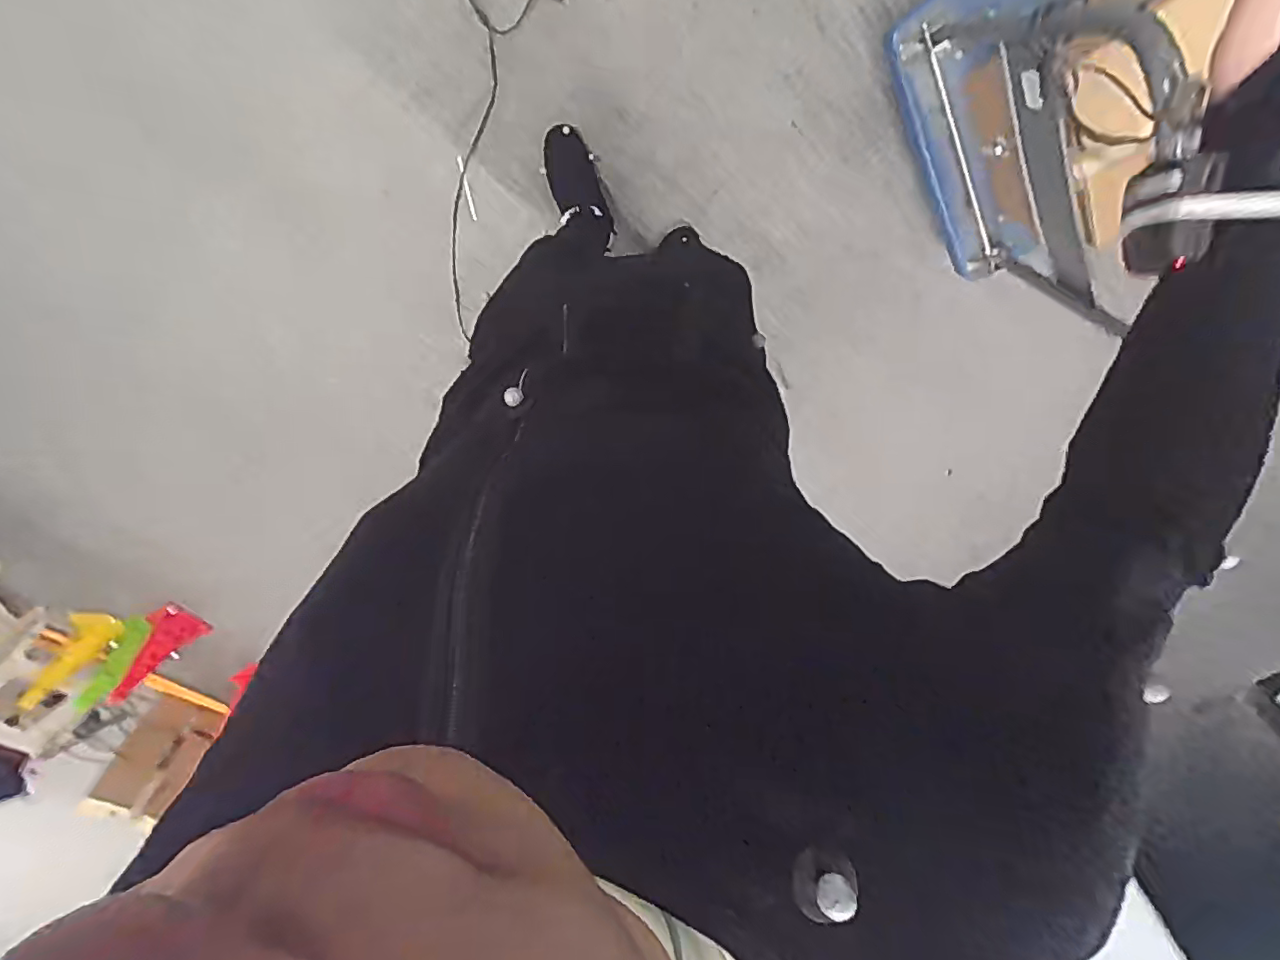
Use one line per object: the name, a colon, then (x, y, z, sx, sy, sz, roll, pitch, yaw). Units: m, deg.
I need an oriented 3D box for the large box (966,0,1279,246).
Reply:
large box: (0.885, -0.692, 0.948, 0.408, 0.320, 0.320, -30, 121, 19)
